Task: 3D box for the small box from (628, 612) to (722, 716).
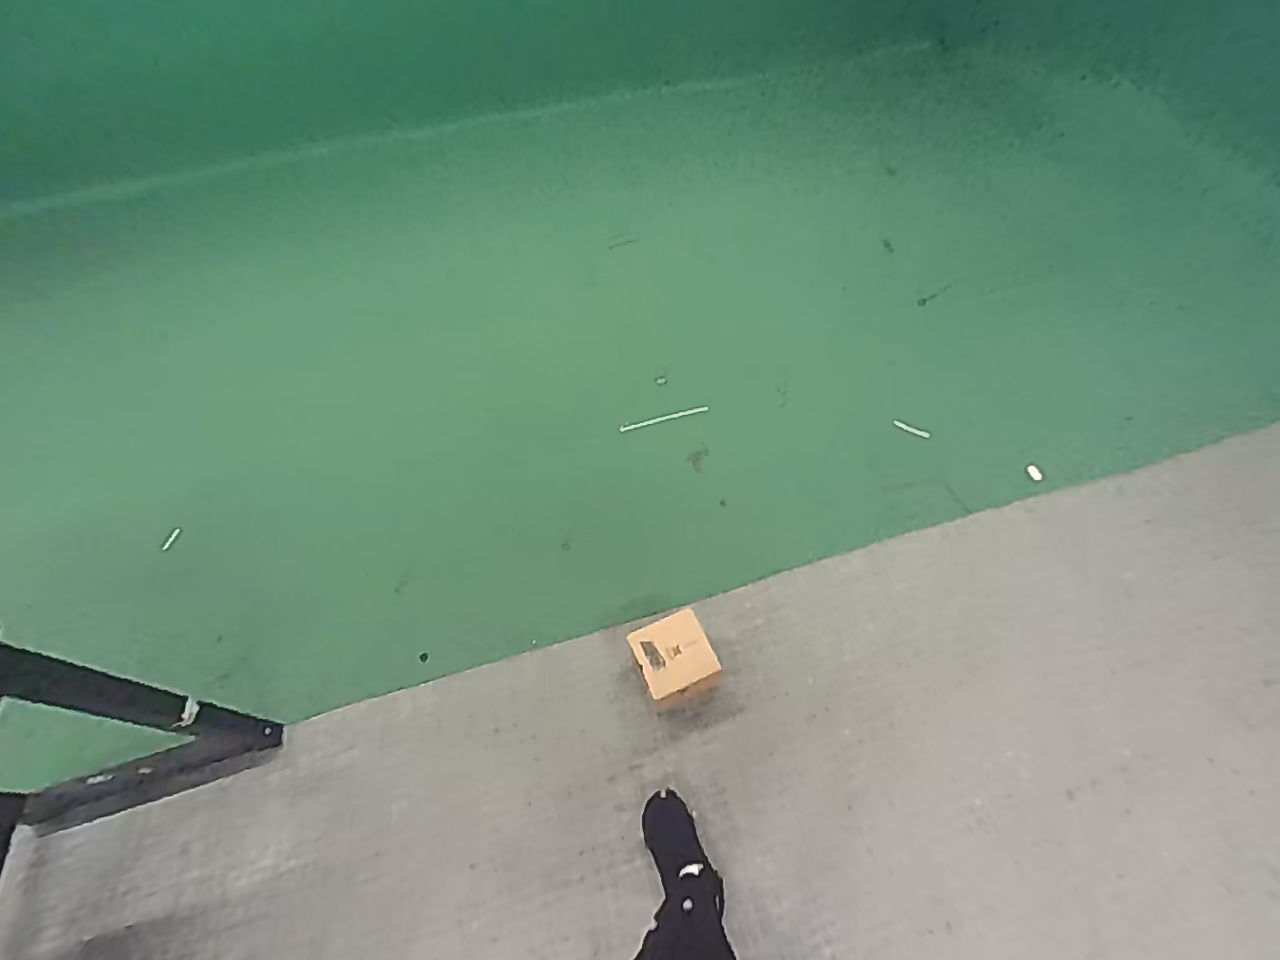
[{"bbox_3d":[0.084,0.454,1.321,0.179,0.176,0.168,-21,58,-11],"label":"small box"}]
